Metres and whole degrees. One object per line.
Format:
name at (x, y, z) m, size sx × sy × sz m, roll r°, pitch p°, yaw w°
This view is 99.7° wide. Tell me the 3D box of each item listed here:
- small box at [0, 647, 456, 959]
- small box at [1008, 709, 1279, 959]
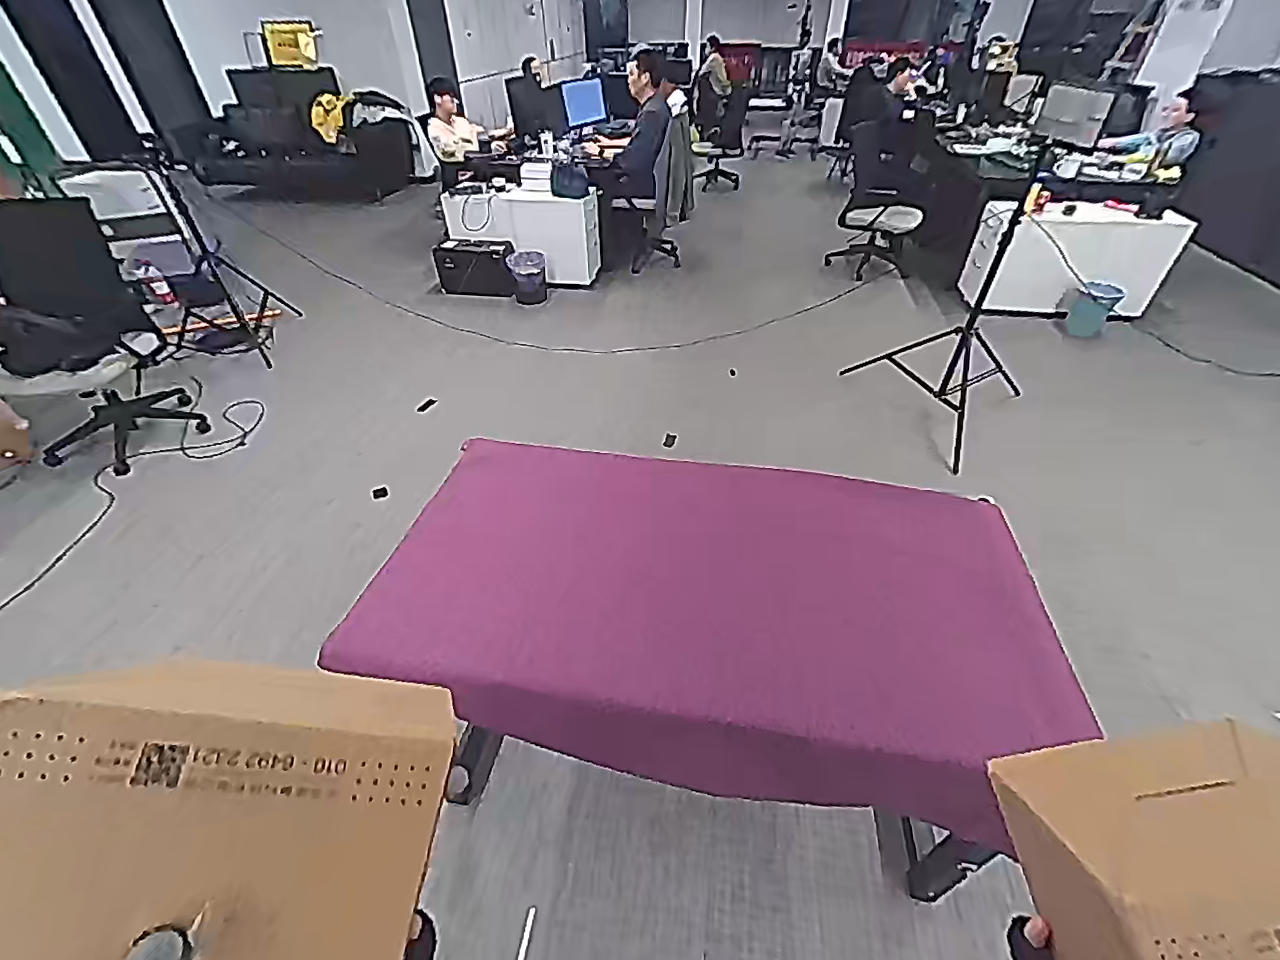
small box at (-0.194, 0.178, 0.262) m, size 0.168 × 0.179 × 0.176 m, roll 15°, pitch 71°, yaw -16°
small box at (0.338, 0.244, 0.291) m, size 0.168 × 0.179 × 0.176 m, roll -16°, pitch 80°, yaw 12°
